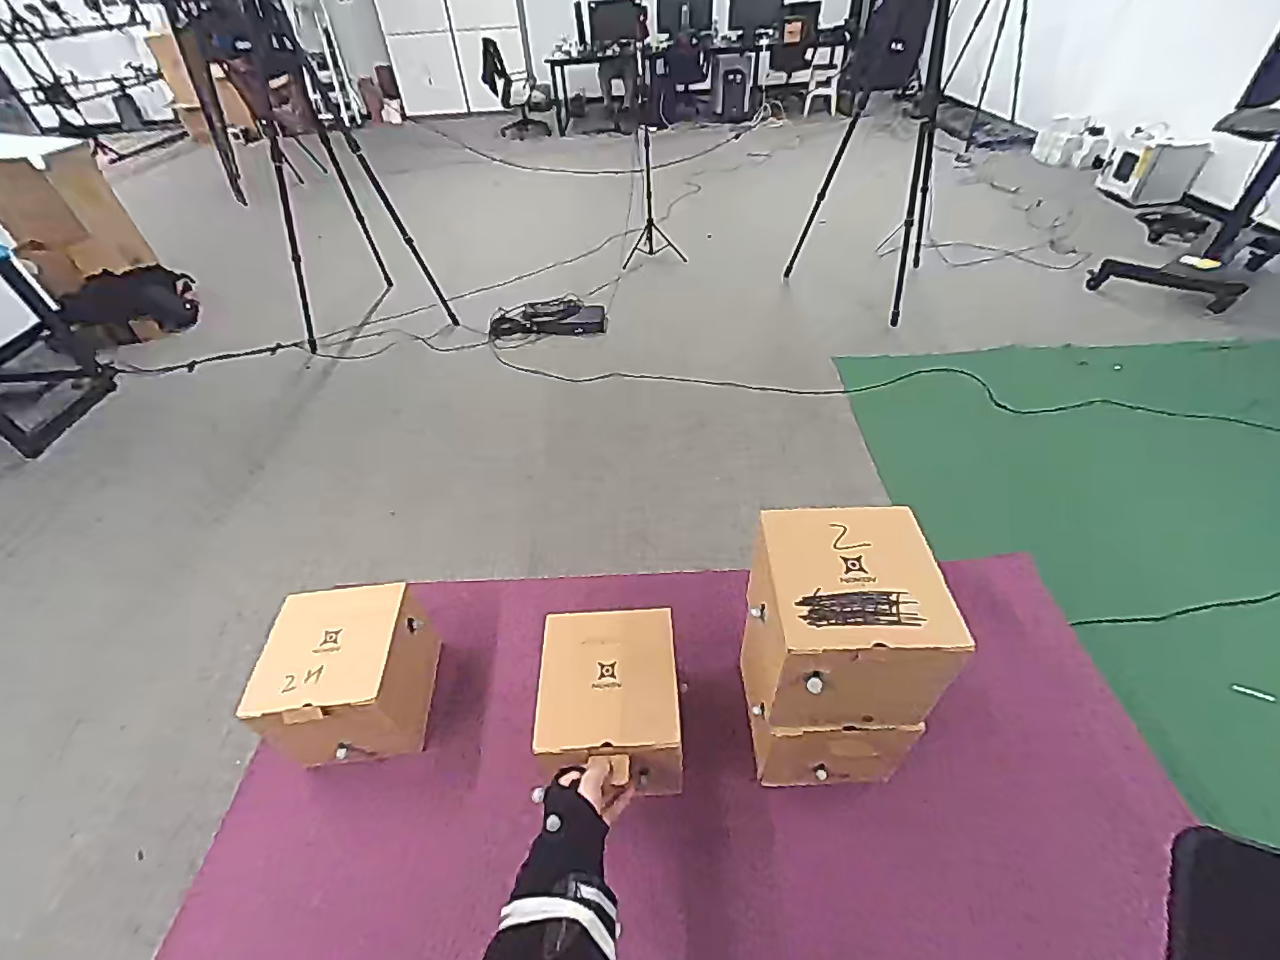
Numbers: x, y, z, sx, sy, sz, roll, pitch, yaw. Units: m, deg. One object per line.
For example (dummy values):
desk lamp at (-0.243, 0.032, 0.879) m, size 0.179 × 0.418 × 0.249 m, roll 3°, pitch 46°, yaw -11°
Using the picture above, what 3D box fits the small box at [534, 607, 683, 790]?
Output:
small box at (-0.032, 0.289, 0.705) m, size 0.168 × 0.176 × 0.179 m, roll -4°, pitch 44°, yaw 1°

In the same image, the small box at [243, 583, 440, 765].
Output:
small box at (-0.393, 0.269, 0.755) m, size 0.168 × 0.176 × 0.179 m, roll -7°, pitch 44°, yaw -2°

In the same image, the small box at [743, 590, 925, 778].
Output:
small box at (0.232, 0.265, 0.705) m, size 0.168 × 0.176 × 0.179 m, roll -4°, pitch 45°, yaw 2°
